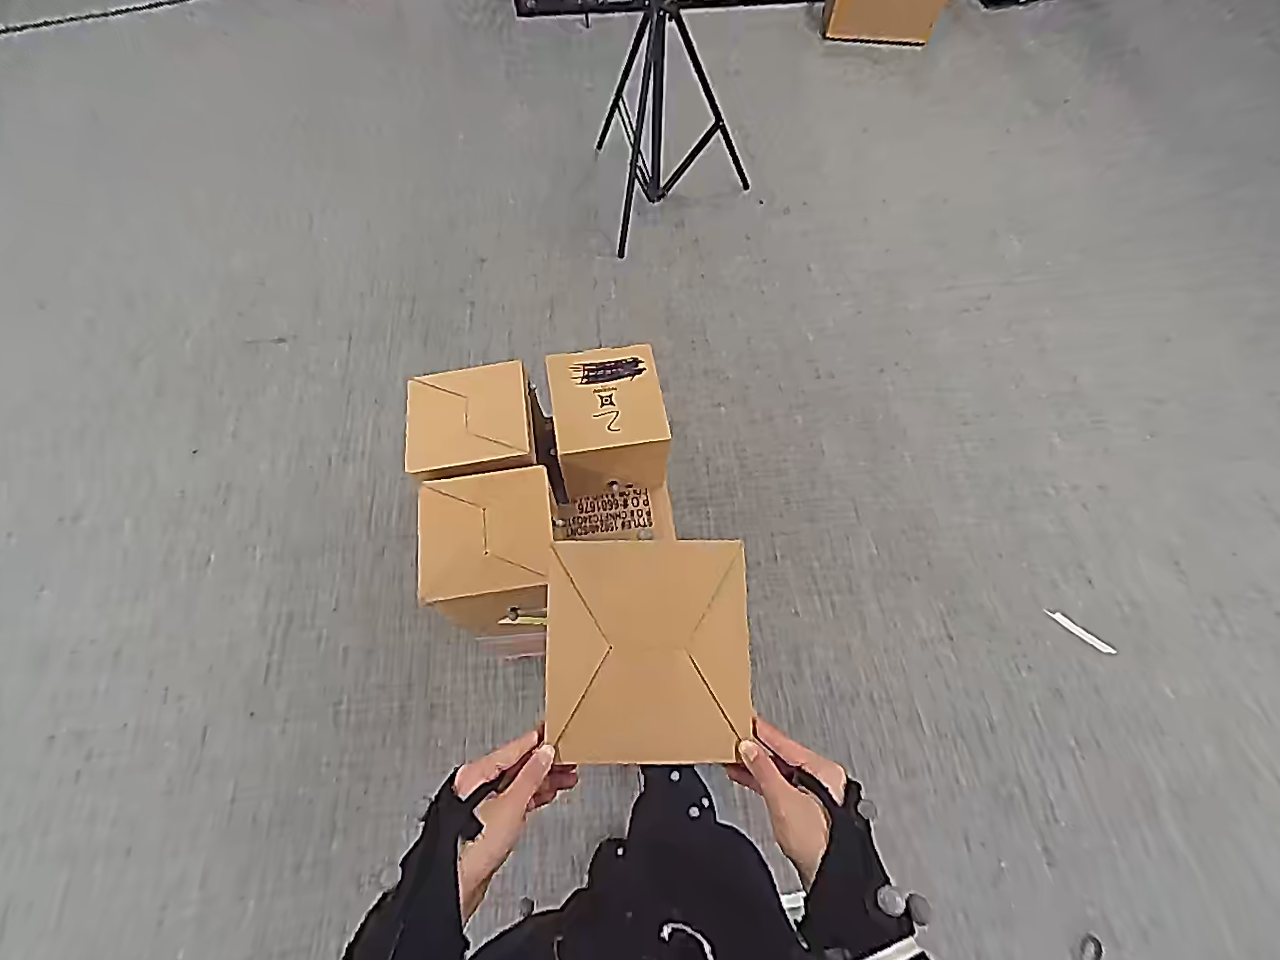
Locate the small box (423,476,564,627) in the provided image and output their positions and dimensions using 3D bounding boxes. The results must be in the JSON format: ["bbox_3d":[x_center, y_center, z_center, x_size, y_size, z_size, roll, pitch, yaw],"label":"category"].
[{"bbox_3d":[-0.205,0.106,0.790,0.179,0.176,0.168,-8,67,-4],"label":"small box"}]

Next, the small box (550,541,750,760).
[{"bbox_3d":[0.006,0.156,0.524,0.168,0.176,0.179,0,78,-2],"label":"small box"}]
